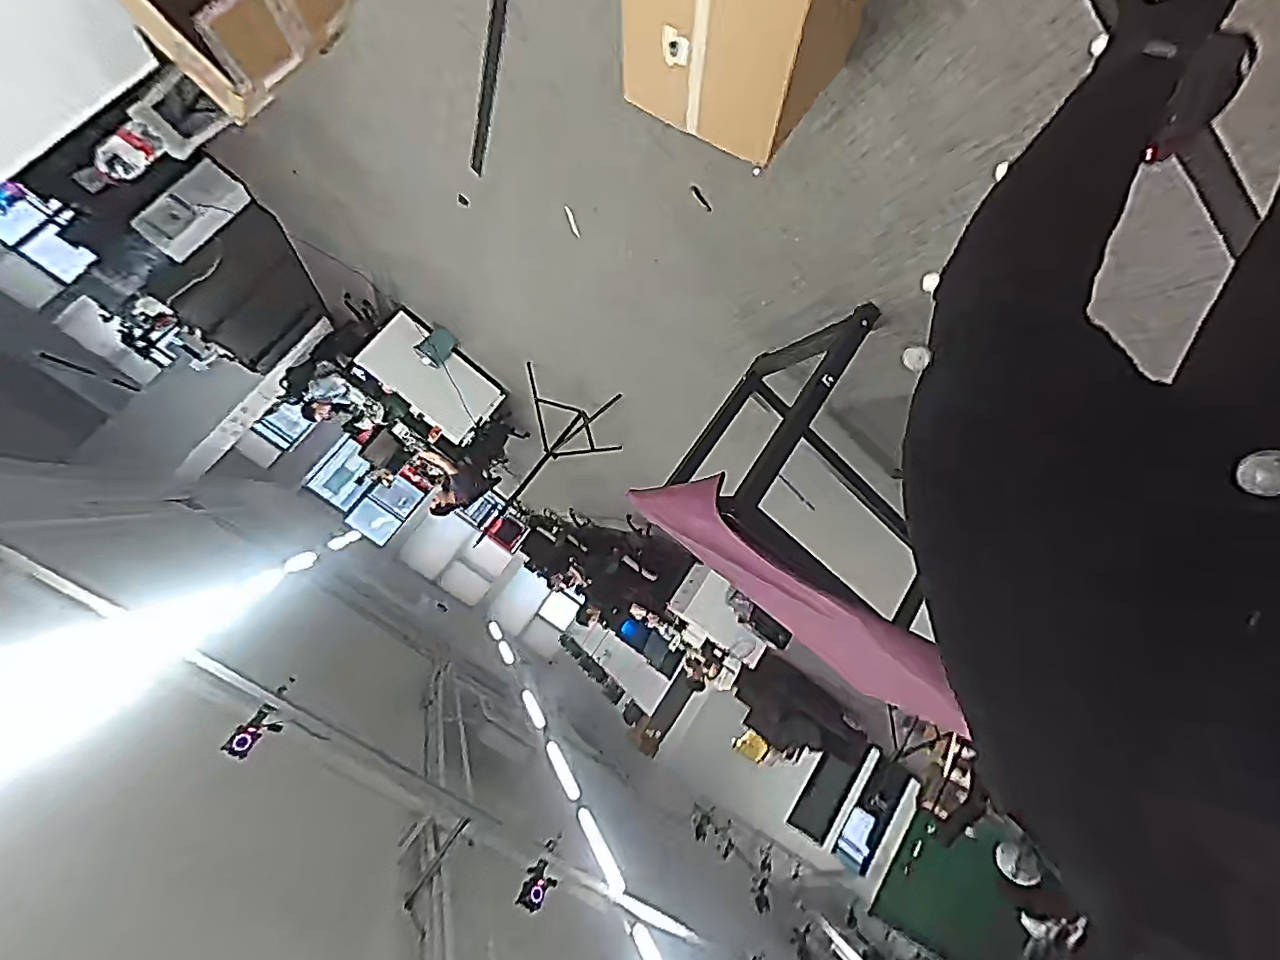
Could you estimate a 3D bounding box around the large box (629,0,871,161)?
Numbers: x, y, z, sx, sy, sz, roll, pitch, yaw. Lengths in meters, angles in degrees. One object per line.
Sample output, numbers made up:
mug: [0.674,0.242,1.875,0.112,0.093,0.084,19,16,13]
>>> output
large box: [0.190,-0.822,0.832,0.320,0.320,0.408,34,167,11]
